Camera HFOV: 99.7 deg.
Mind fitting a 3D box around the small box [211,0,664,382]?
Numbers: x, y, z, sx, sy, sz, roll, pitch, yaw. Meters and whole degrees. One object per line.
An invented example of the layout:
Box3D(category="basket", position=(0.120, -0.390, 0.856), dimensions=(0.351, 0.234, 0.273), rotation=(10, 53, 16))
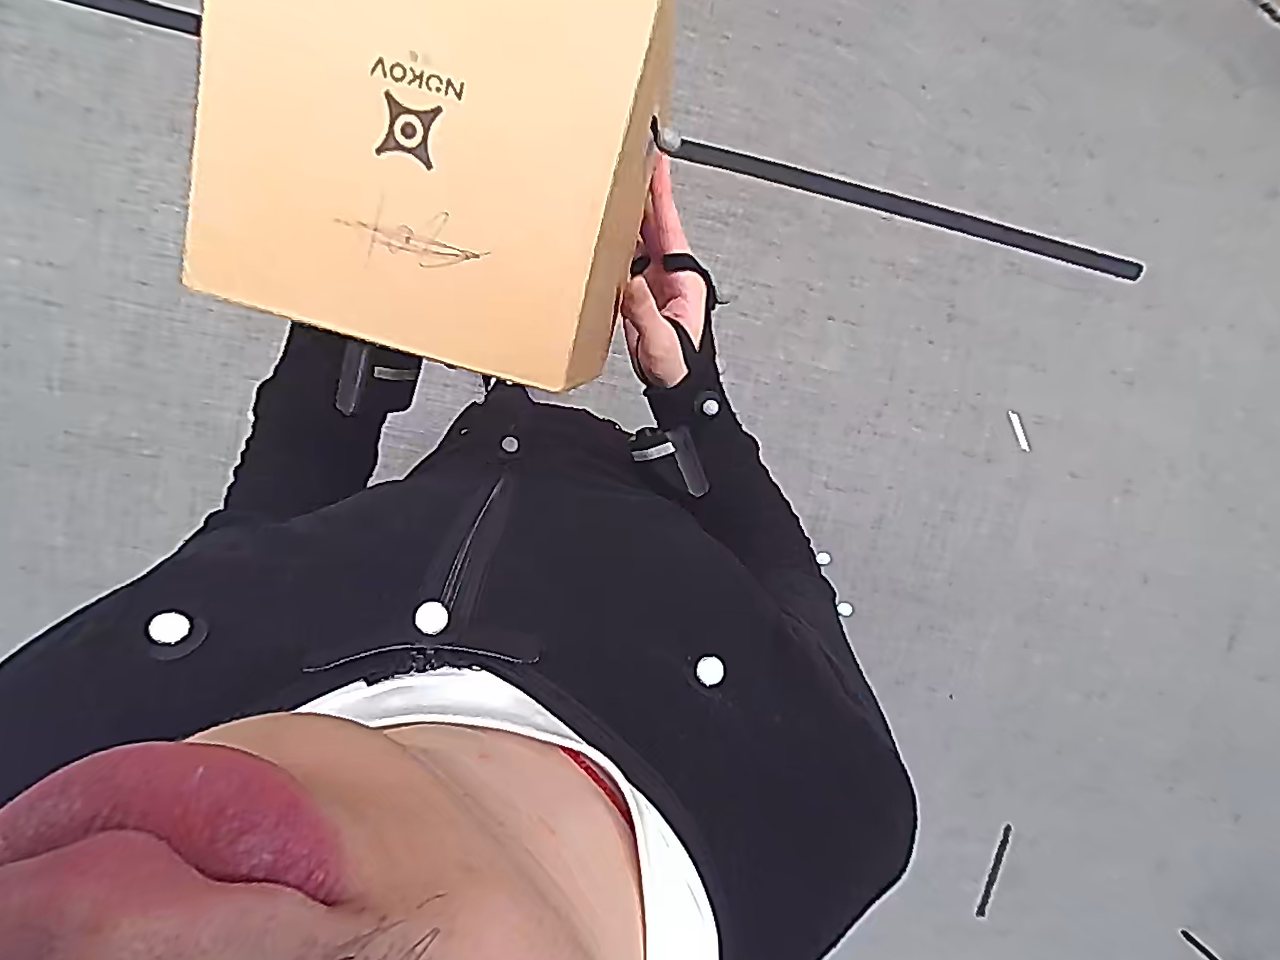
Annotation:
Box3D(category="small box", position=(-0.088, -0.163, 0.300), dimensions=(0.168, 0.176, 0.179), rotation=(14, 104, -1))
